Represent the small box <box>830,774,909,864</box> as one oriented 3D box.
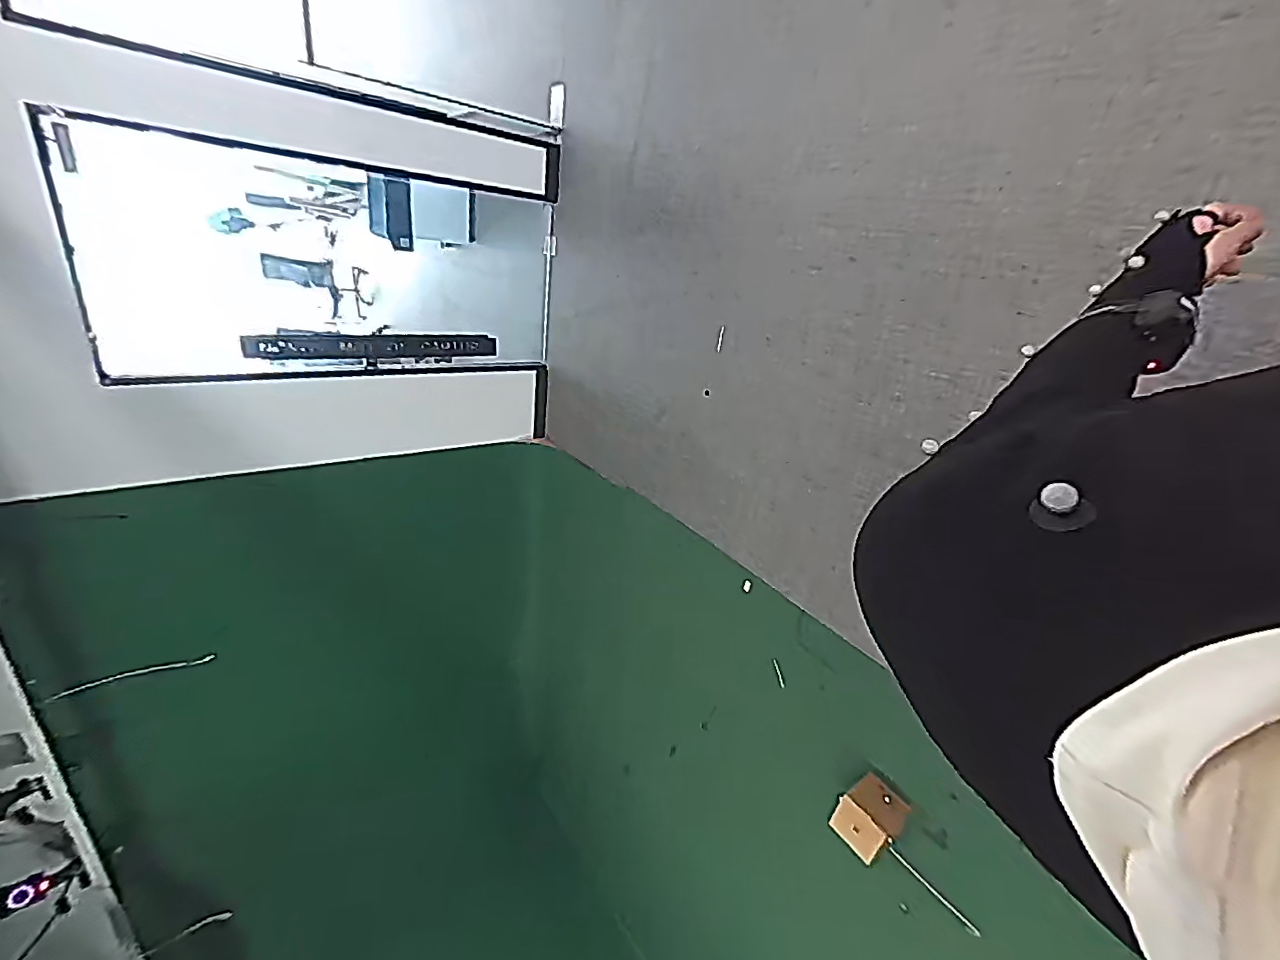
[{"bbox_3d":[0.802,1.173,1.883,0.168,0.176,0.179,38,126,43],"label":"small box"}]
